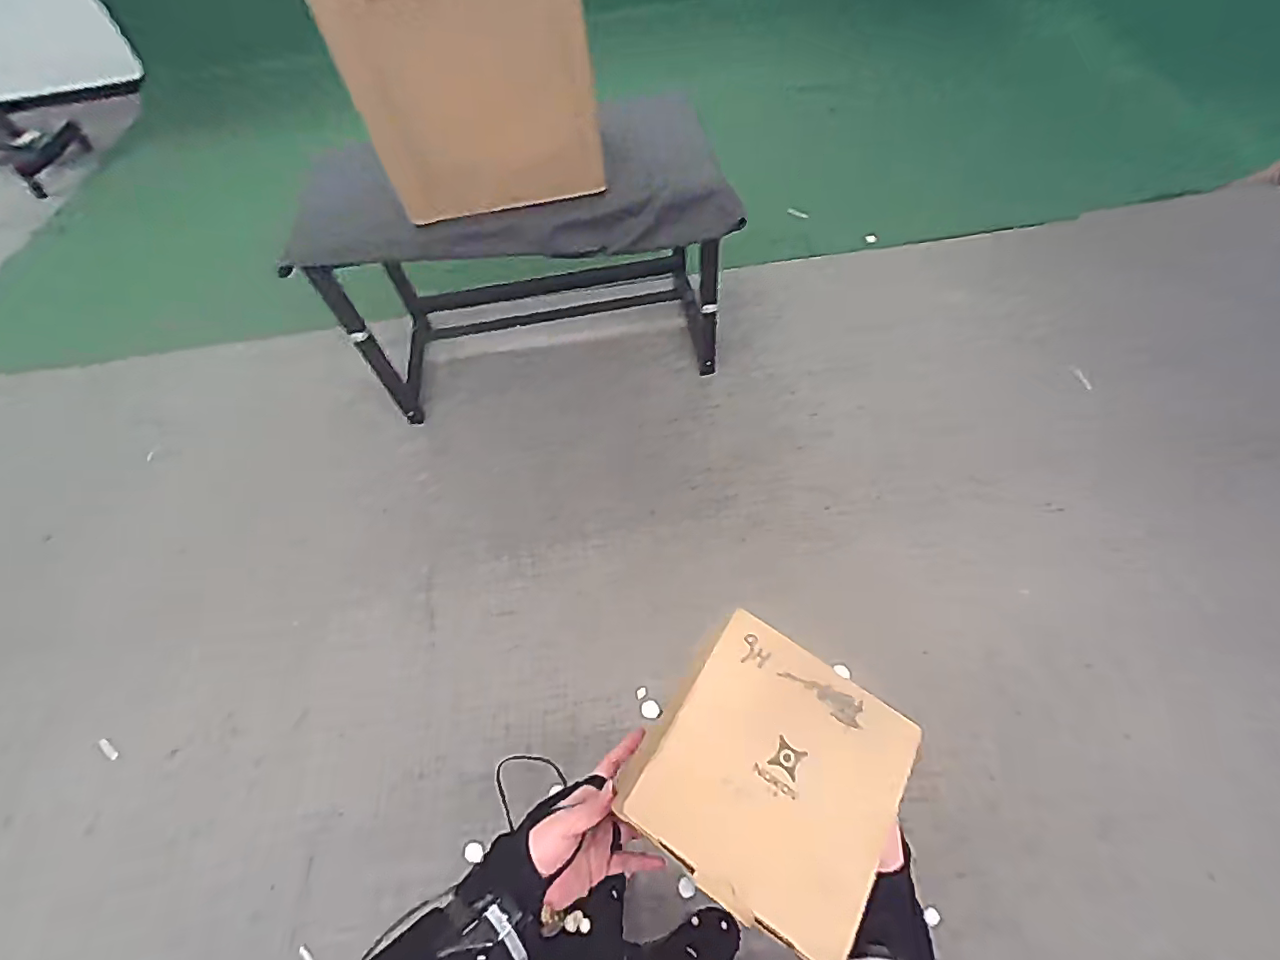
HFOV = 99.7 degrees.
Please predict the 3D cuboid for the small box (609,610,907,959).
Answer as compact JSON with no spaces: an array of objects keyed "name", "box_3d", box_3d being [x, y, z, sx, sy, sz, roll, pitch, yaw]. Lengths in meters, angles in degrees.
[{"name":"small box","box_3d":[0.086,0.247,0.464,0.168,0.176,0.179,32,63,10]}]
